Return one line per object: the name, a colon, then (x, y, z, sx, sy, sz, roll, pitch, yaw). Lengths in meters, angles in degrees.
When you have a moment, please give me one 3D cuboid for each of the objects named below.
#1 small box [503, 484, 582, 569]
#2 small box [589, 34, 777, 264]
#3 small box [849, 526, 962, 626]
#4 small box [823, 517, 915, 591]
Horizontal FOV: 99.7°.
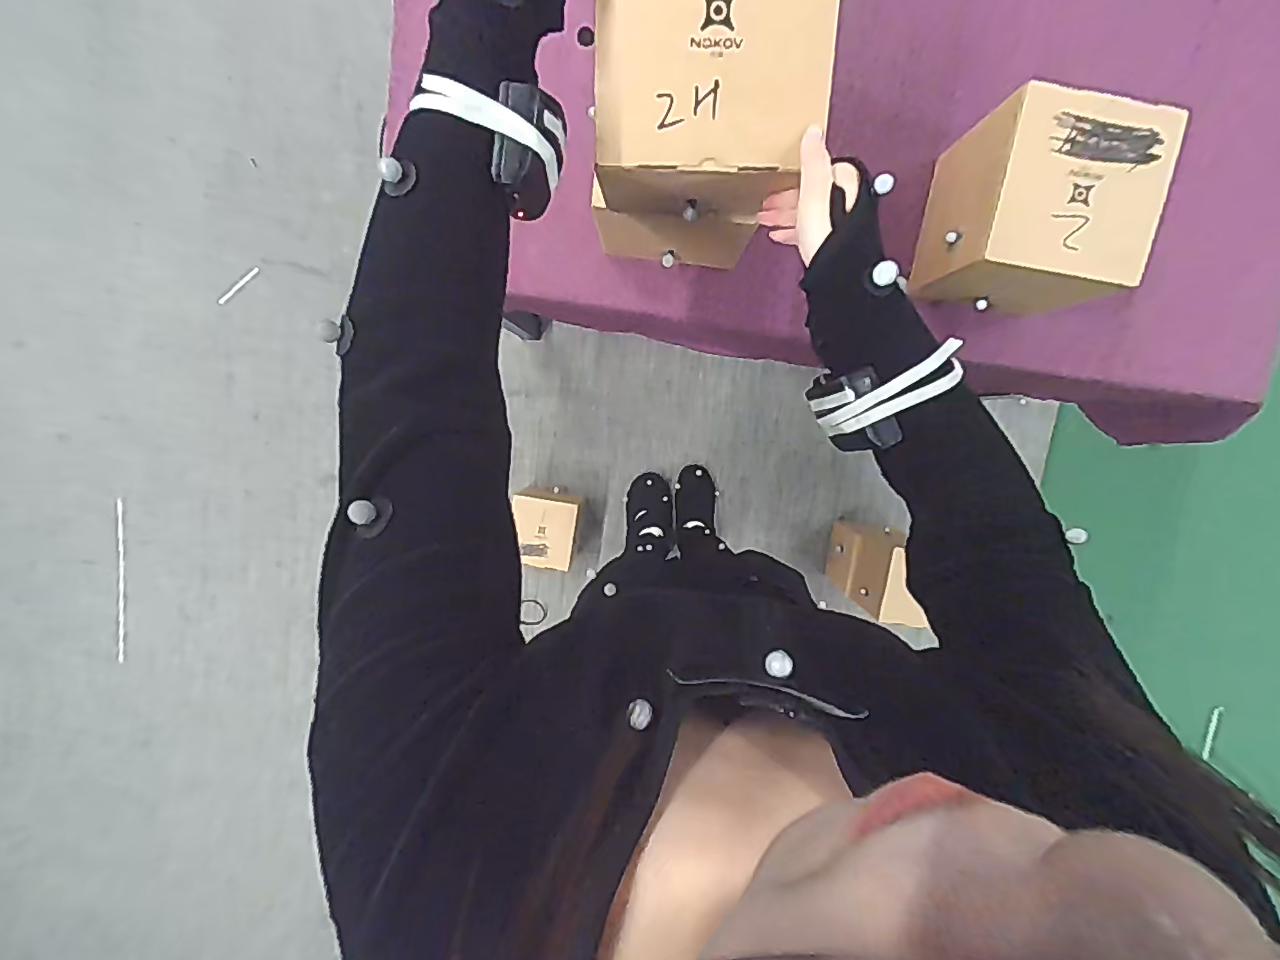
small box: (-0.250, 0.117, 1.425, 0.168, 0.176, 0.179, 9, 96, -1)
small box: (0.041, -0.361, 0.625, 0.179, 0.176, 0.168, 6, 97, -1)
small box: (0.613, 0.219, 1.271, 0.168, 0.176, 0.179, 8, 97, -3)
small box: (0.604, 0.197, 1.433, 0.179, 0.176, 0.168, 6, 98, -1)
